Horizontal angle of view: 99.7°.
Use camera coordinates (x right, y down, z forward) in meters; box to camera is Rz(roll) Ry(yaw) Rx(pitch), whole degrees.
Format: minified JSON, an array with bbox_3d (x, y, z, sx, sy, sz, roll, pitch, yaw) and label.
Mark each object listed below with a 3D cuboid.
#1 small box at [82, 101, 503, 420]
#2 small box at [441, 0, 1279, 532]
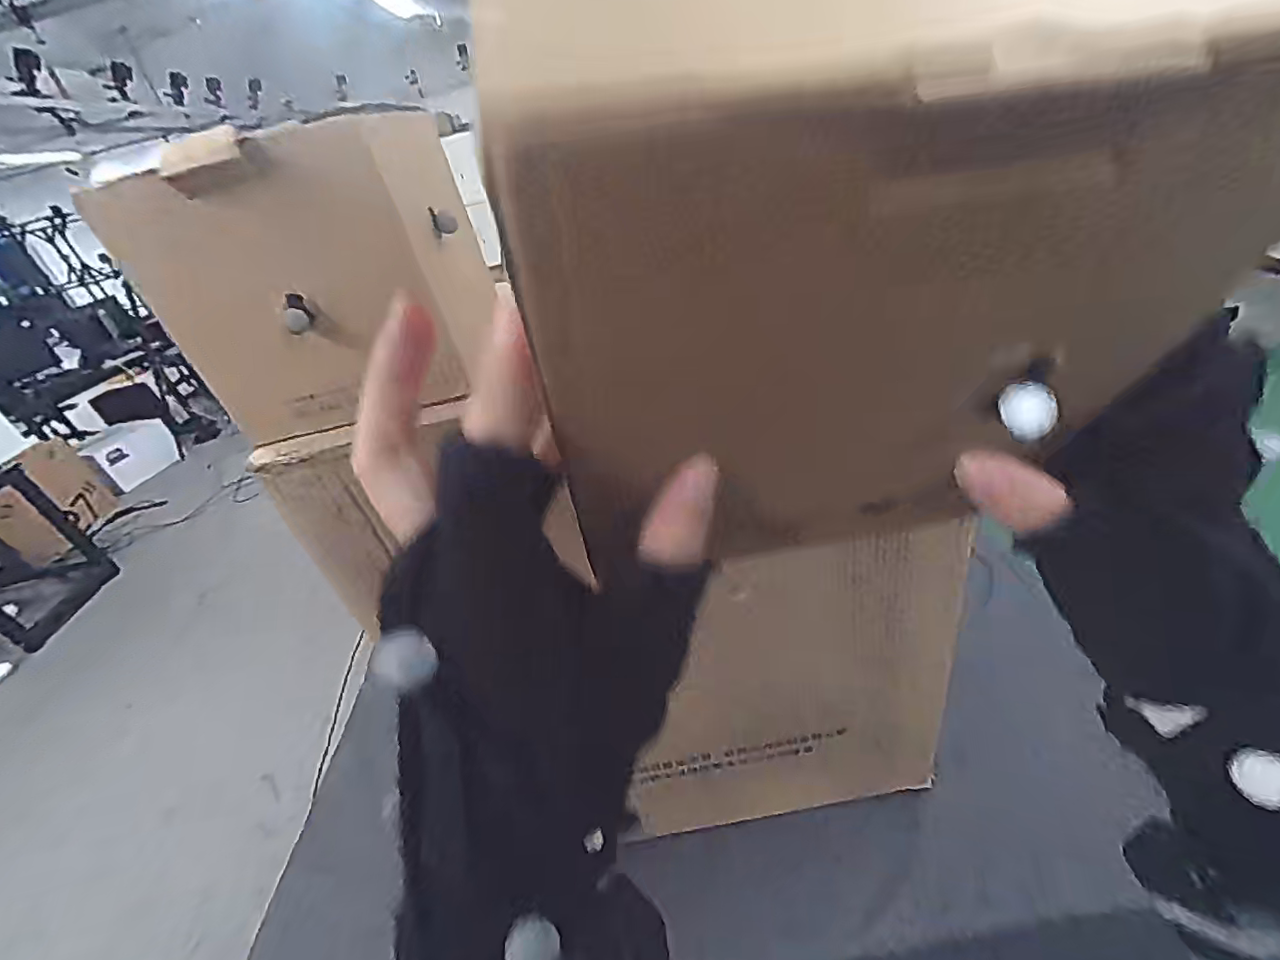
[{"bbox_3d":[-0.214,-0.158,0.402,0.168,0.176,0.179,-12,36,4],"label":"small box"},{"bbox_3d":[0.041,-0.094,0.194,0.168,0.176,0.179,-9,57,-4],"label":"small box"}]
